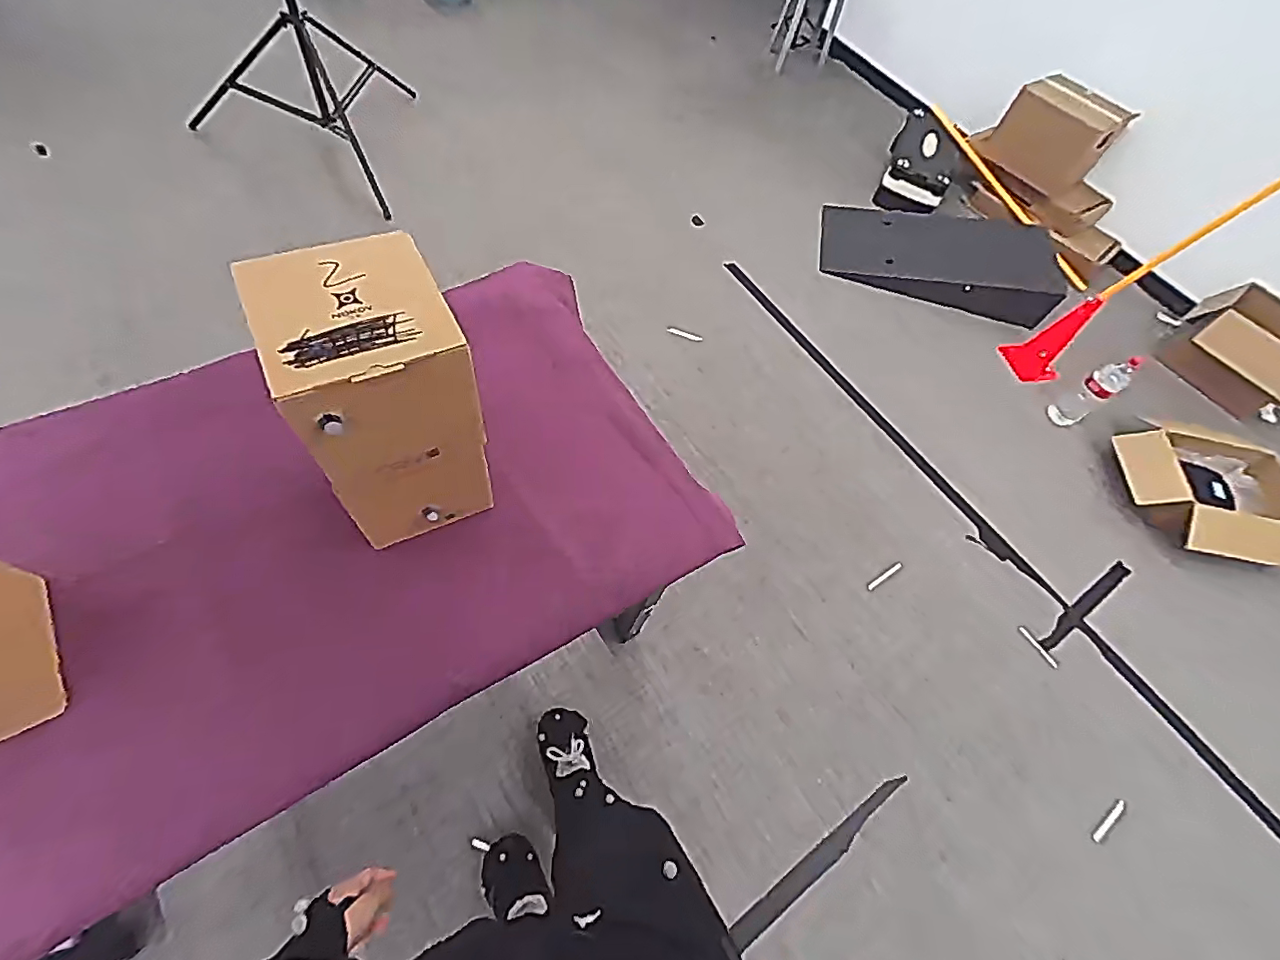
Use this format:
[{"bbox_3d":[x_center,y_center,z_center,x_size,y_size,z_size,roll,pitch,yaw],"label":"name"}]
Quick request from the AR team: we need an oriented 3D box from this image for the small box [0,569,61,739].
[{"bbox_3d":[-0.714,0.178,0.512,0.168,0.176,0.179,-26,68,-22],"label":"small box"}]

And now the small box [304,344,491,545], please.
[{"bbox_3d":[-0.308,-0.043,0.711,0.168,0.176,0.179,-21,66,-20],"label":"small box"}]
